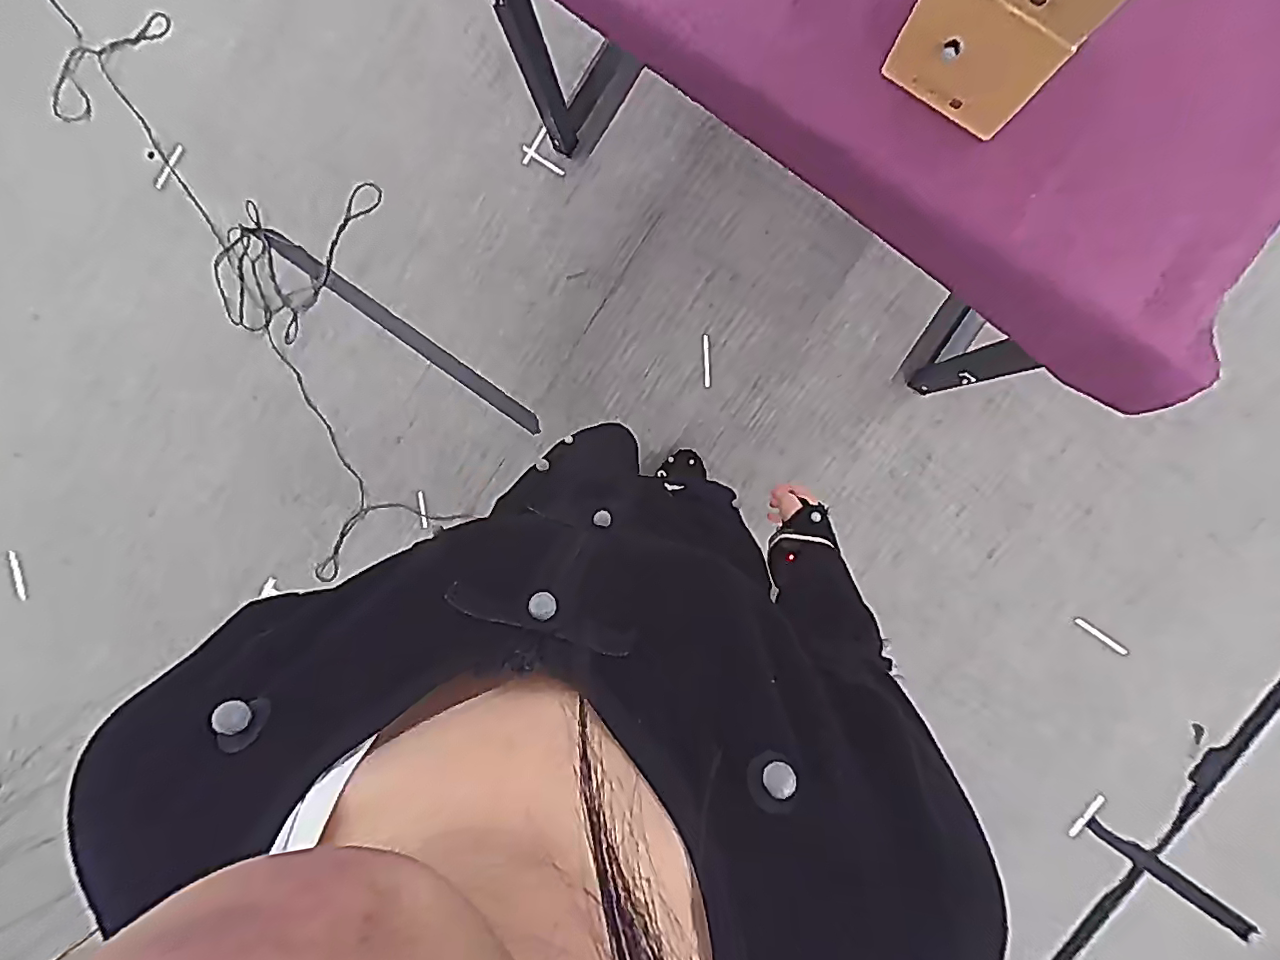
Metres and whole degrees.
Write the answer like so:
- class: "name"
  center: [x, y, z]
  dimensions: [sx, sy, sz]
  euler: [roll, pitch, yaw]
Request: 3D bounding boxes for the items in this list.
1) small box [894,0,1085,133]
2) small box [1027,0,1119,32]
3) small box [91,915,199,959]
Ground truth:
- class: "small box"
  center: [0.423, -0.551, 0.617]
  dimensions: [0.168, 0.176, 0.179]
  euler: [35, 95, 2]
- class: "small box"
  center: [0.414, -0.545, 0.453]
  dimensions: [0.168, 0.176, 0.179]
  euler: [36, 95, 2]
- class: "small box"
  center: [-1.048, 1.047, 1.092]
  dimensions: [0.168, 0.176, 0.179]
  euler: [30, 96, 3]
